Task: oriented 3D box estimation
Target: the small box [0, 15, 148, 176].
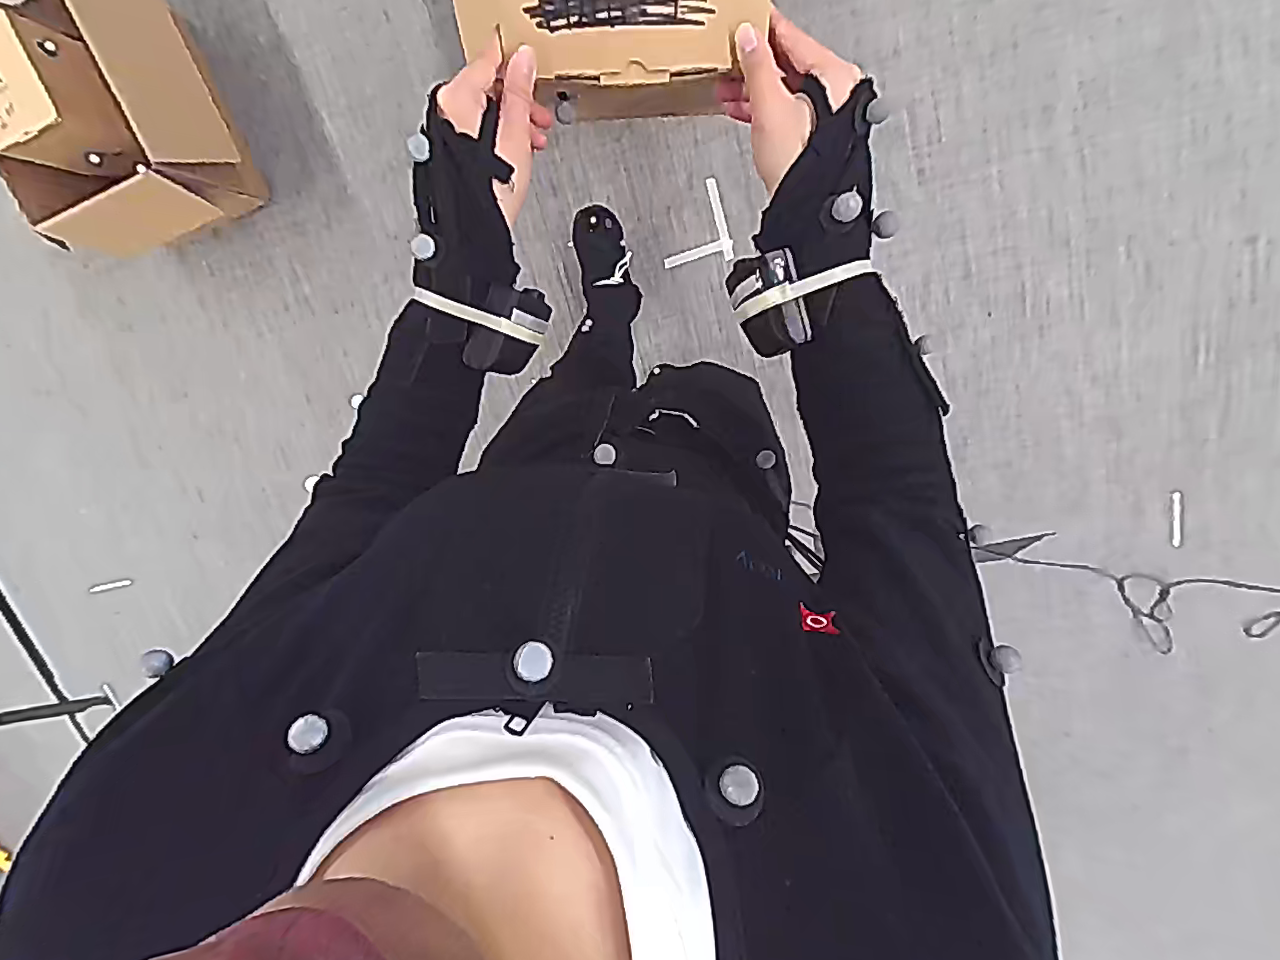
[{"bbox_3d":[-1.113,-0.713,1.027,0.168,0.176,0.179,-16,105,11],"label":"small box"}]
